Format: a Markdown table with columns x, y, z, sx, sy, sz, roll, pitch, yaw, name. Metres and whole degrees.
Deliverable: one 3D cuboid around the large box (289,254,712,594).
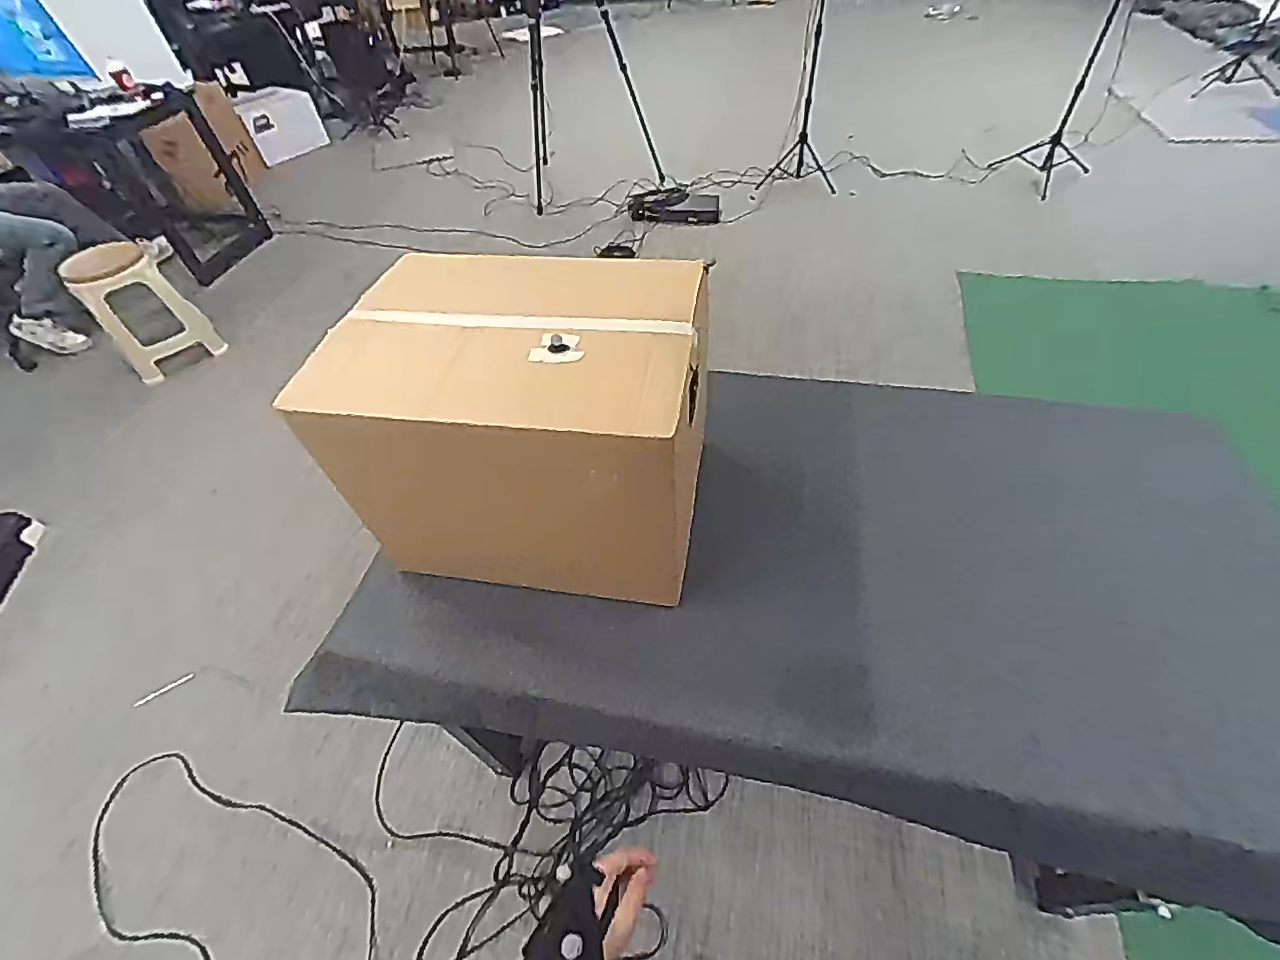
| x | y | z | sx | sy | sz | roll | pitch | yaw | name |
| --- | --- | --- | --- | --- | --- | --- | --- | --- | --- |
| -0.125 | -0.074 | 0.713 | 0.408 | 0.320 | 0.320 | 6 | 51 | 8 | large box |
